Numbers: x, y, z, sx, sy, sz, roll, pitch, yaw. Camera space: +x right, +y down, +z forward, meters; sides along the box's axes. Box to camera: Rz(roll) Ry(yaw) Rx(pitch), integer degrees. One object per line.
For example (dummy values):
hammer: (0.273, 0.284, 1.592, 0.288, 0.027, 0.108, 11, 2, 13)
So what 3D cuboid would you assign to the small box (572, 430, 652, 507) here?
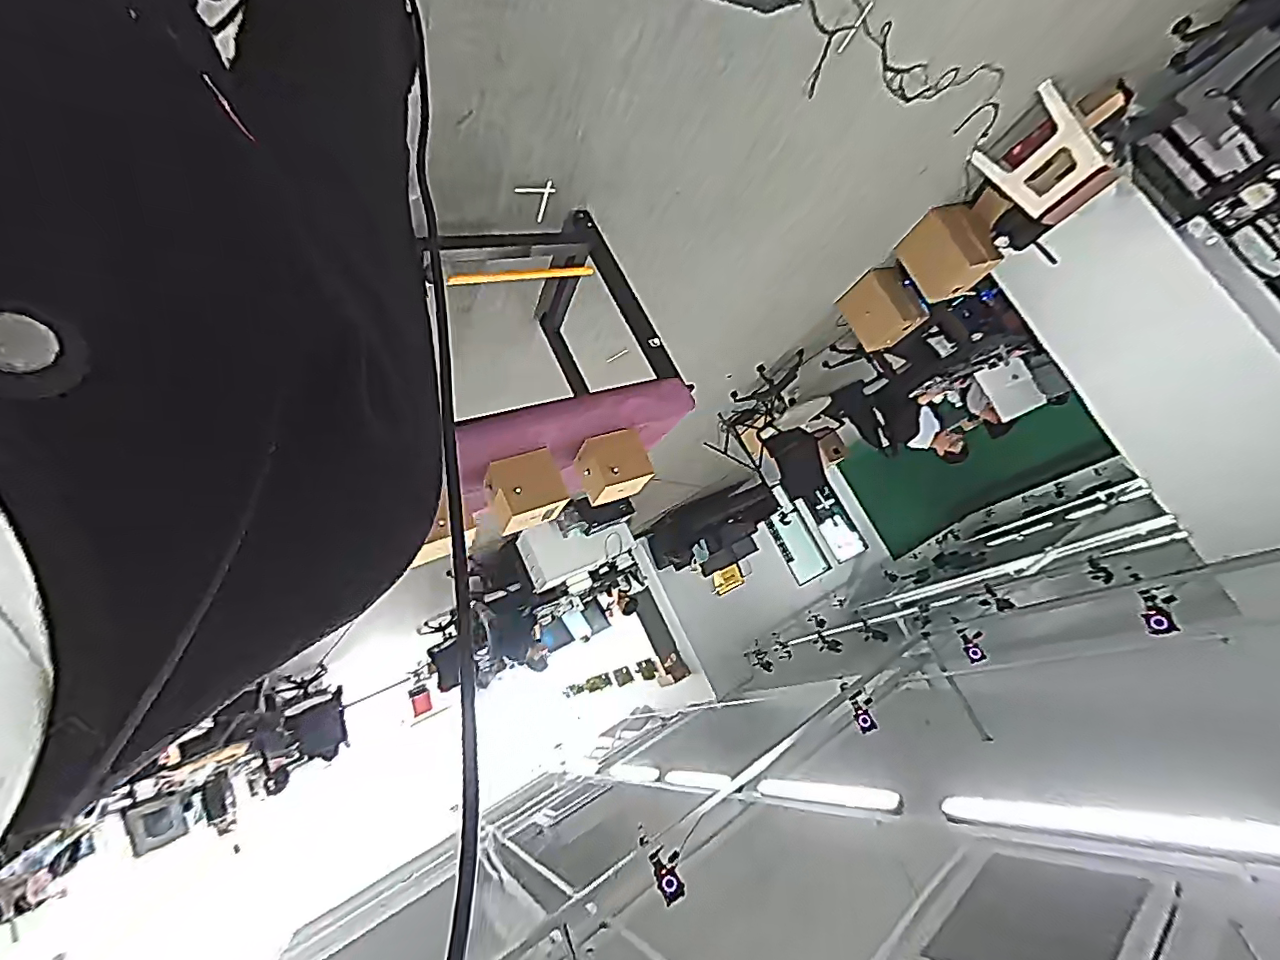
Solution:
small box: (-0.095, -0.039, 1.712, 0.179, 0.176, 0.168, -17, 164, -29)

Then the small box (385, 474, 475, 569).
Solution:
small box: (-0.553, 0.106, 1.407, 0.179, 0.176, 0.168, -20, 165, -30)
